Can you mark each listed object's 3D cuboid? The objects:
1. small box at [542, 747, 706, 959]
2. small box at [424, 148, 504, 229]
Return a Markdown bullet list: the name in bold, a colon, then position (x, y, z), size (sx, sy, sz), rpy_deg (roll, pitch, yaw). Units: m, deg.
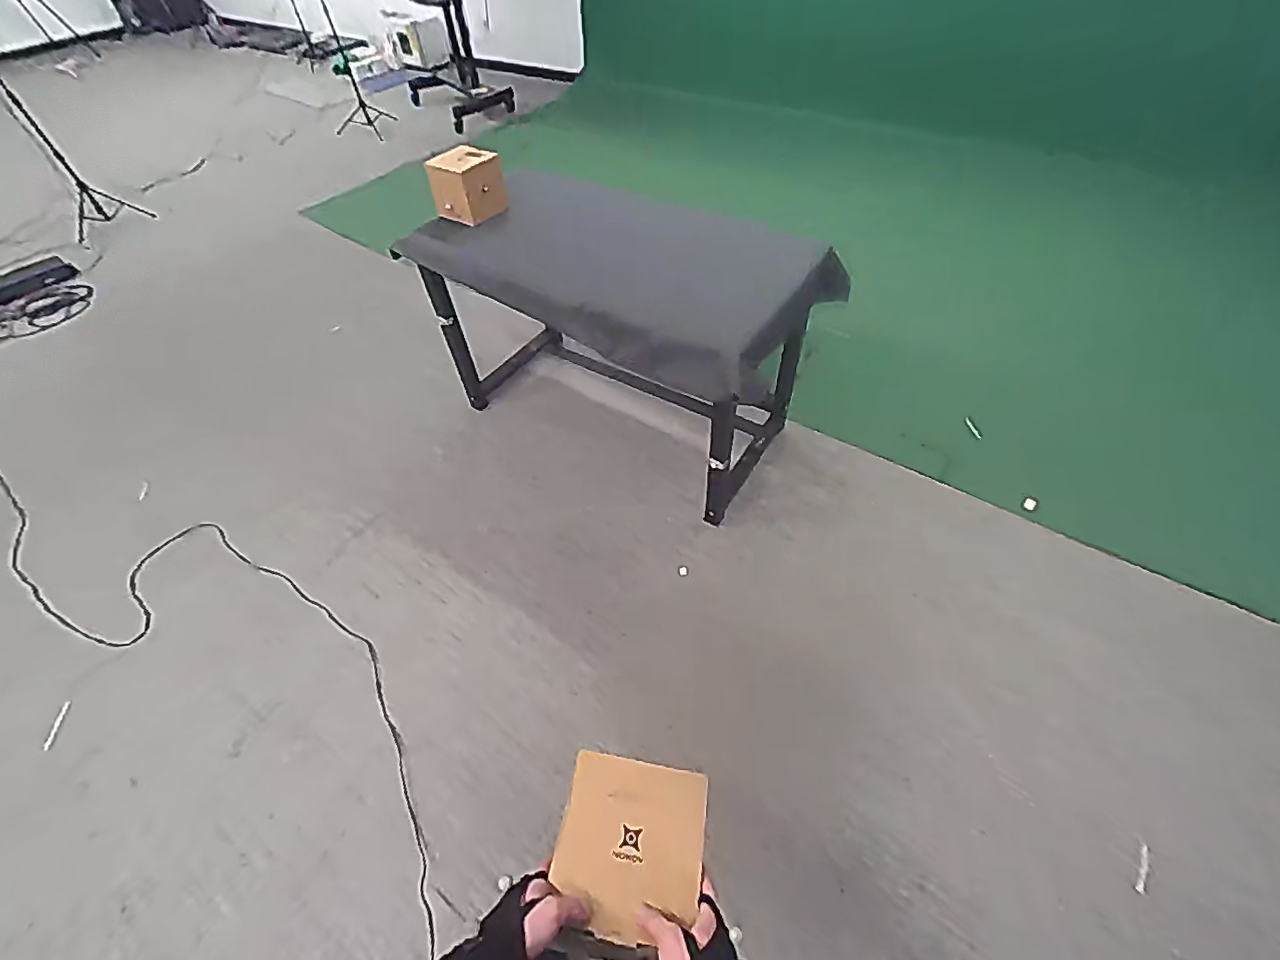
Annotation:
- **small box**: position (-0.017, 0.468, 0.675), size (0.168, 0.176, 0.179), rpy_deg (10, 43, 2)
- **small box**: position (-0.568, -0.956, 1.777), size (0.168, 0.176, 0.179), rpy_deg (26, 56, 22)
